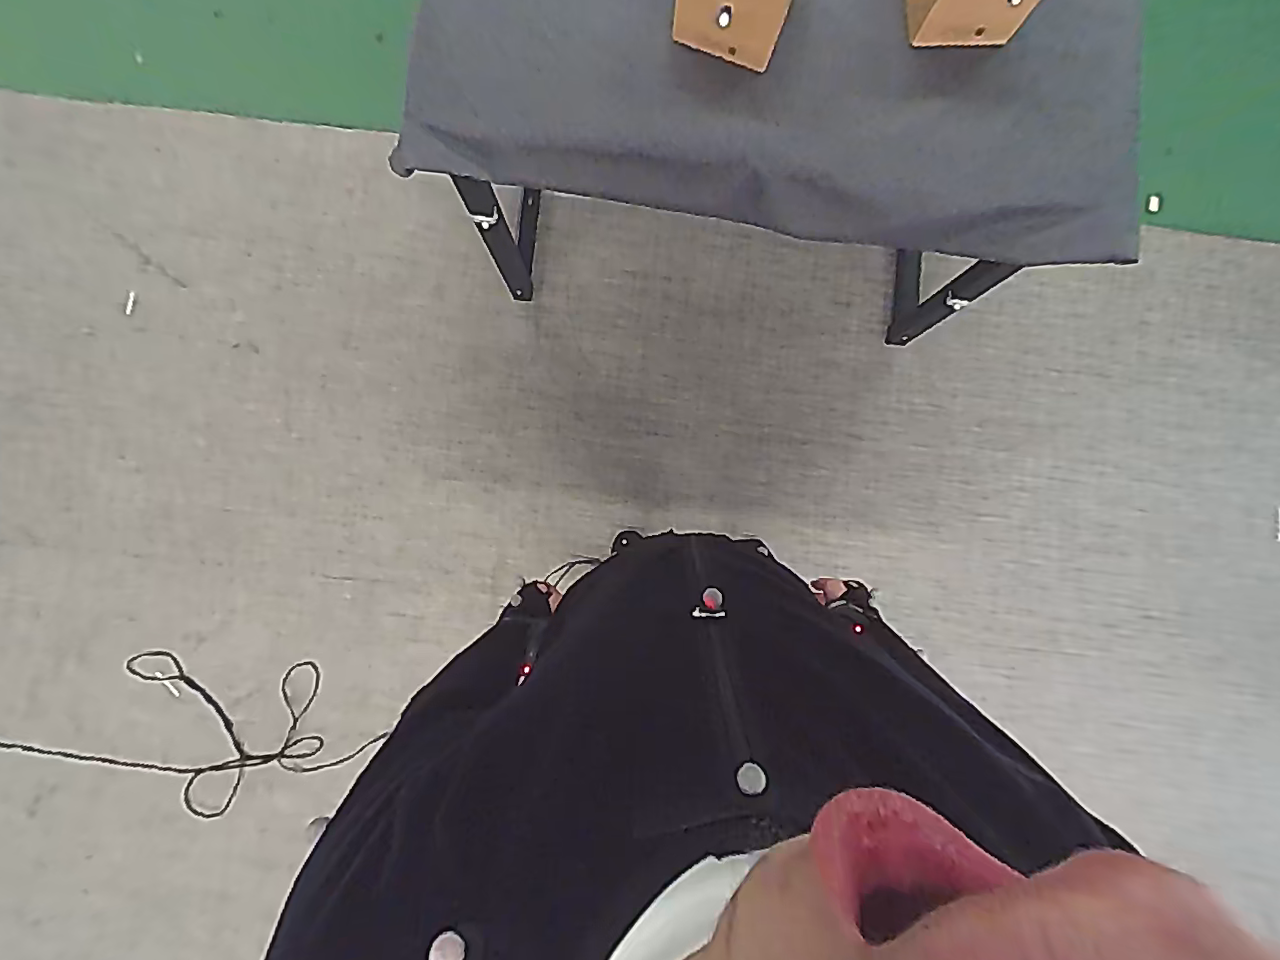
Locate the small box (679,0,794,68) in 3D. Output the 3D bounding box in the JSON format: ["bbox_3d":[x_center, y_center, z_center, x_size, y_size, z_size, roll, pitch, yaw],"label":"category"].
[{"bbox_3d":[0.165,-0.789,0.824,0.168,0.176,0.179,21,85,-1],"label":"small box"}]

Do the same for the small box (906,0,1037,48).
[{"bbox_3d":[0.535,-0.819,0.840,0.168,0.176,0.179,-2,84,-3],"label":"small box"}]
